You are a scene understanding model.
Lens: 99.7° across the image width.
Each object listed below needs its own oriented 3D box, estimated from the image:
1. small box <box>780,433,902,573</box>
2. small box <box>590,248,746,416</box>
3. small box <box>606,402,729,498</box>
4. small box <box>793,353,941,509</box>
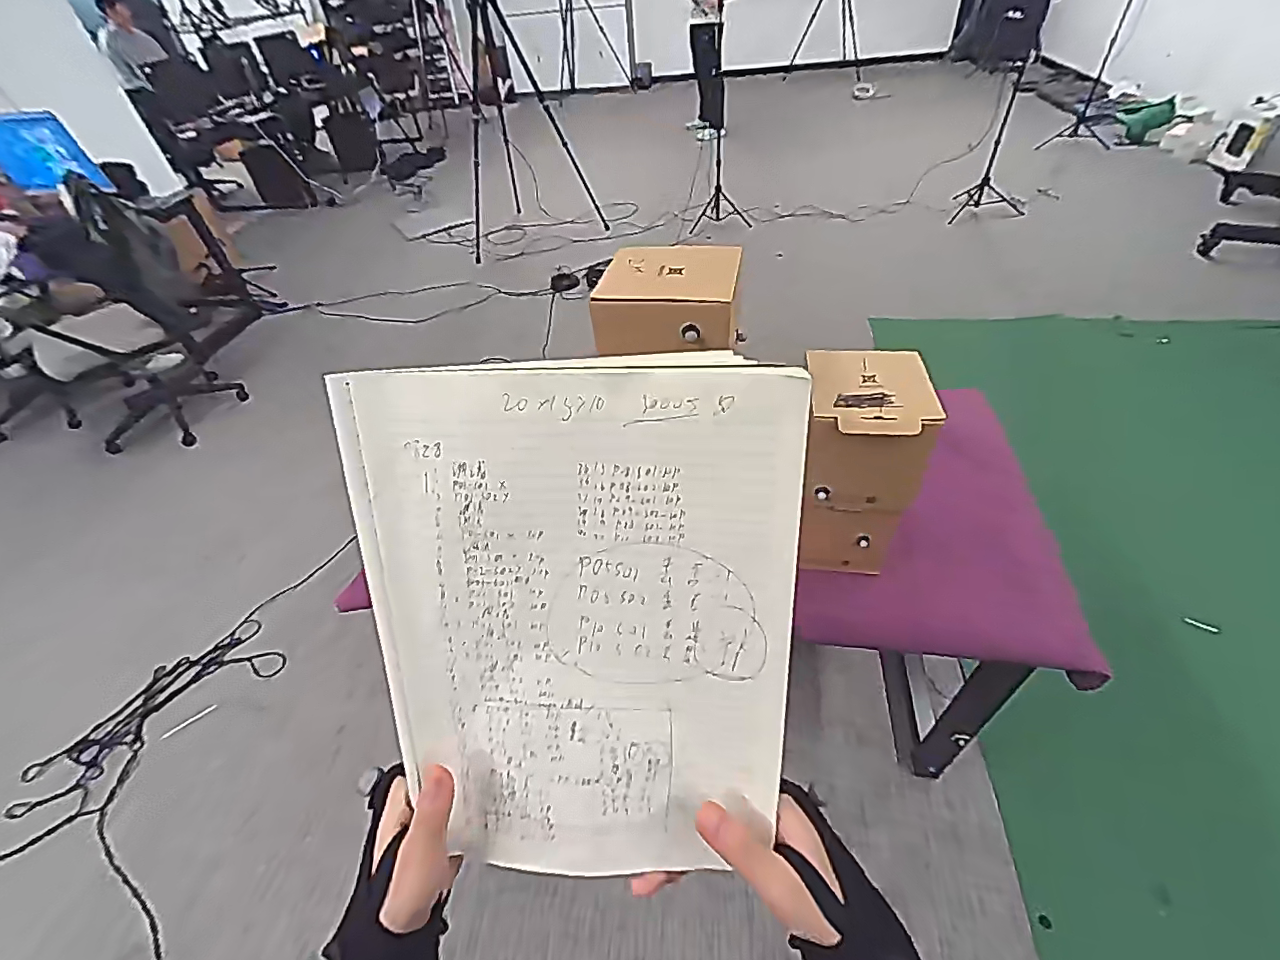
[{"bbox_3d":[0.335,0.041,0.933,0.168,0.176,0.179,5,44,10],"label":"small box"},{"bbox_3d":[0.048,-0.203,0.745,0.179,0.176,0.168,5,44,13],"label":"small box"},{"bbox_3d":[0.054,-0.088,0.864,0.168,0.176,0.179,4,44,11],"label":"small box"},{"bbox_3d":[0.326,-0.074,0.816,0.168,0.176,0.179,4,43,9],"label":"small box"}]
